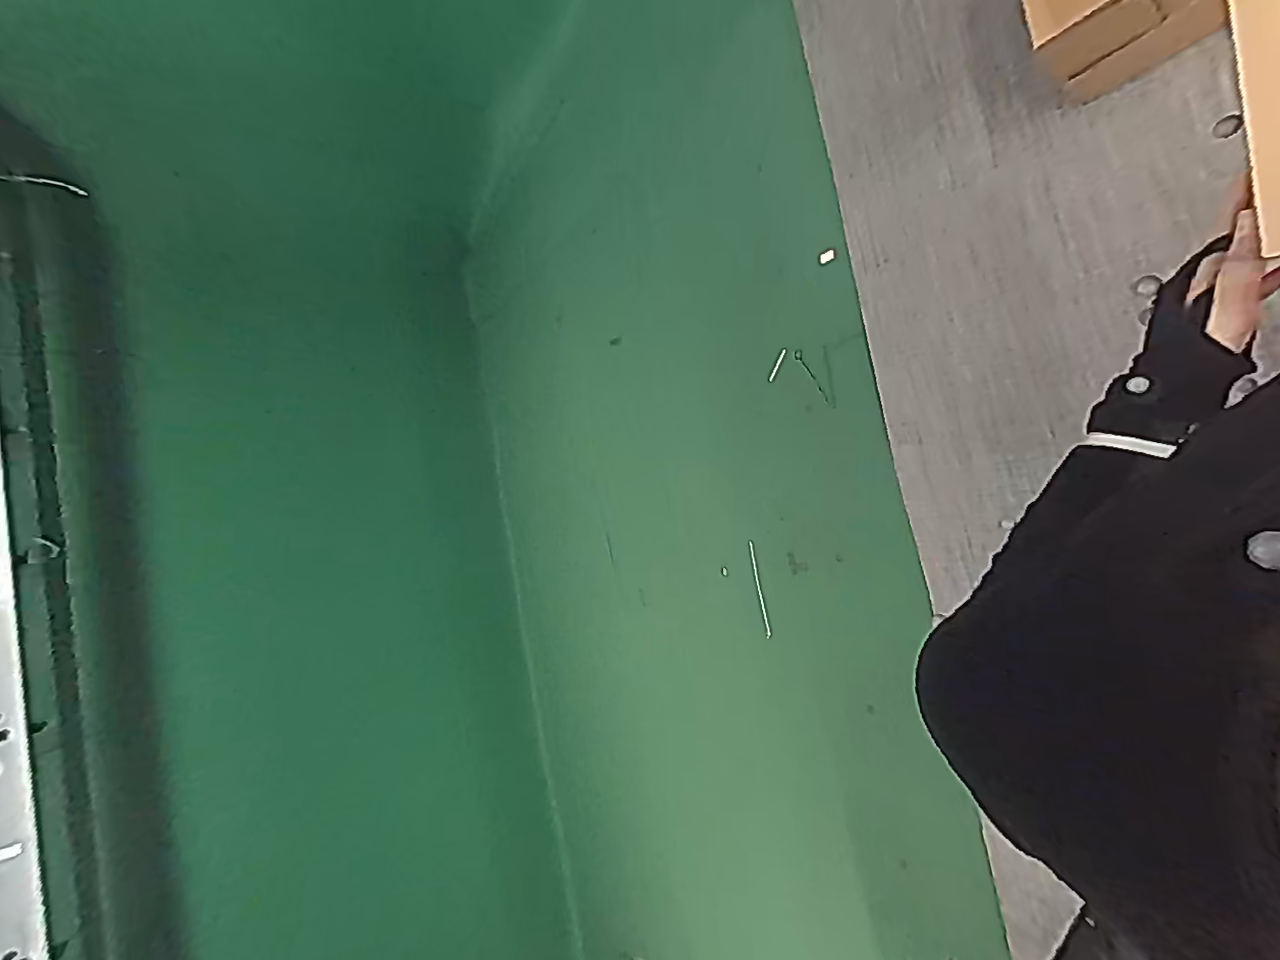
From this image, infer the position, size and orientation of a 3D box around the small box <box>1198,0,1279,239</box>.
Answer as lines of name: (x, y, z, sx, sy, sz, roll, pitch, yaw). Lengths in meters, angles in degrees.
small box: (0.426, -0.236, 0.275, 0.179, 0.176, 0.168, -6, 101, 52)
